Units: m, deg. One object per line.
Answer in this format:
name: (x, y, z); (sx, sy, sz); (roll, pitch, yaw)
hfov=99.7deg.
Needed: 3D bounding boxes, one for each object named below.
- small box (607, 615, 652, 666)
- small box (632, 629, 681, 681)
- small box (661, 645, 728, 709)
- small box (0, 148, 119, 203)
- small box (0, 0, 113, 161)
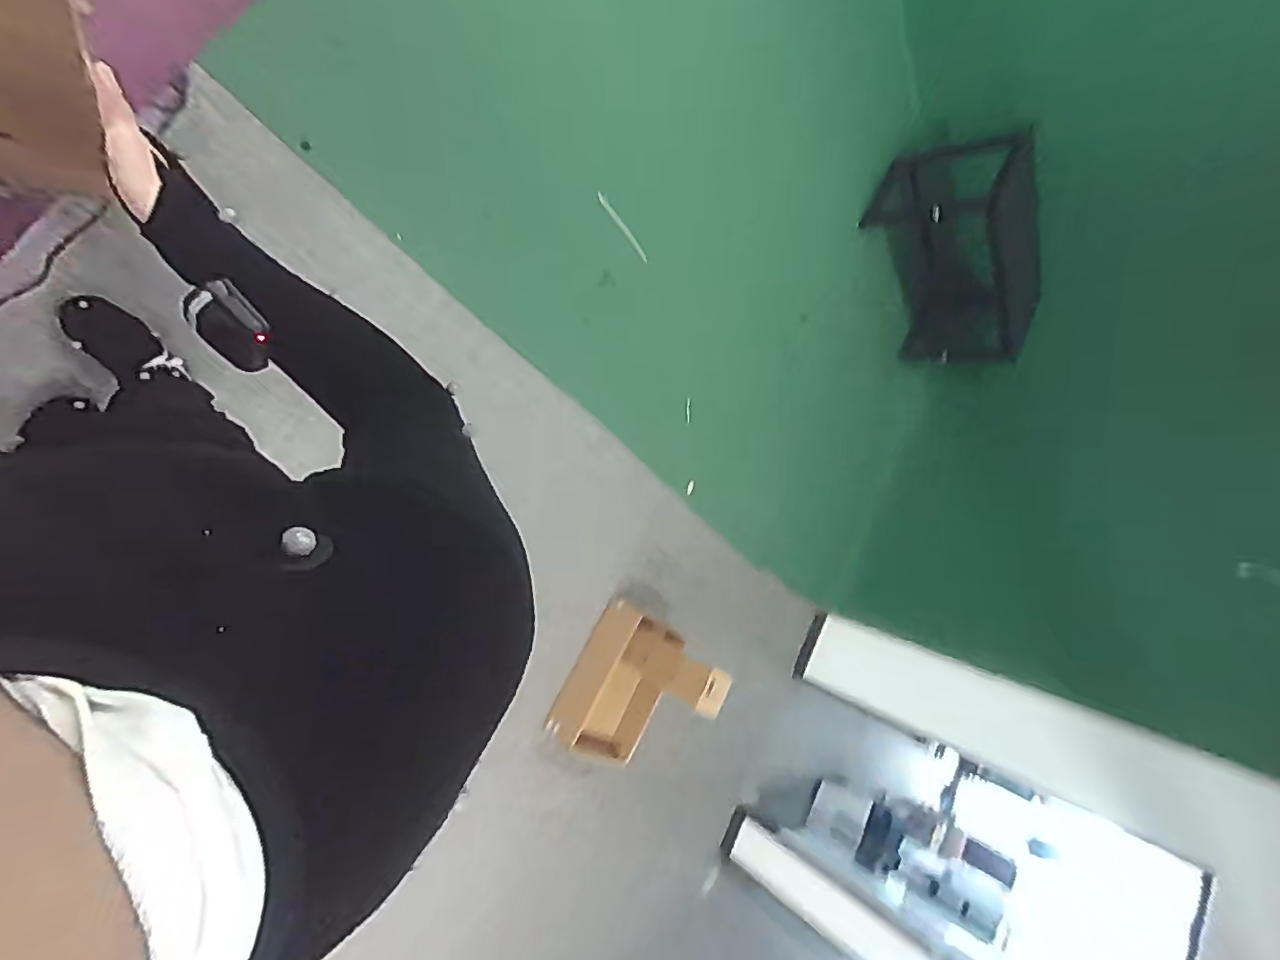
small box: (-0.011, 0.716, 2.378); (0.179, 0.176, 0.168); (45, 70, -43)
small box: (0.101, 0.747, 2.263); (0.179, 0.176, 0.168); (45, 69, -42)
small box: (0.213, 0.777, 2.147); (0.179, 0.176, 0.168); (42, 71, -44)
small box: (-0.574, -0.355, 0.456); (0.168, 0.176, 0.179); (-15, 109, -39)
small box: (-0.466, -0.329, 0.338); (0.168, 0.176, 0.179); (-17, 111, -40)
